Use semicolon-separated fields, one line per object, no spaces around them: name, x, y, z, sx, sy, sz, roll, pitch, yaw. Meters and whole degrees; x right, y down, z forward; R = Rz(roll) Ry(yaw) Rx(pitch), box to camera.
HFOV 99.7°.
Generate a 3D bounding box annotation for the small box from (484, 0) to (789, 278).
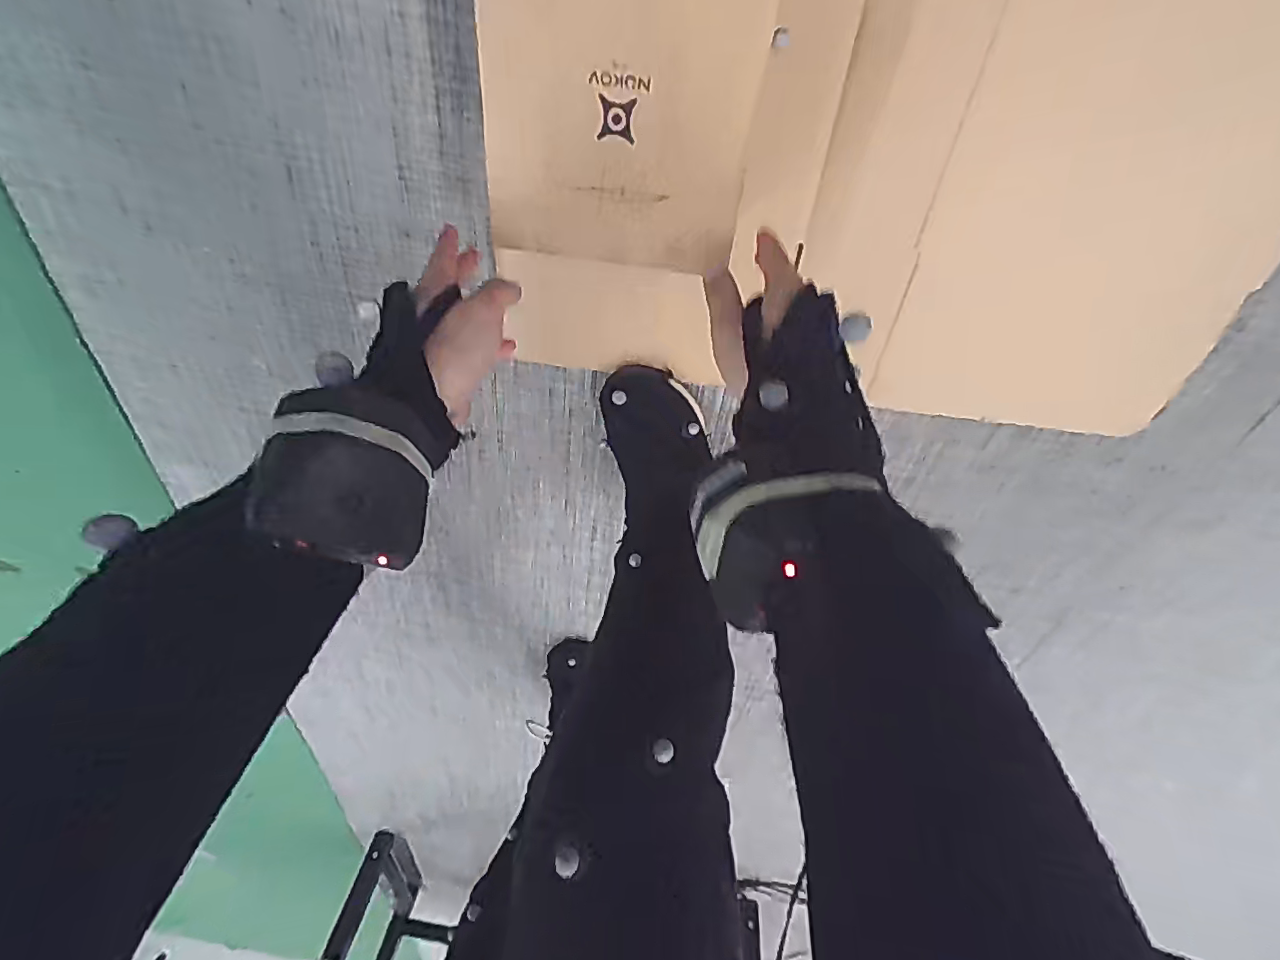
small box;0.001;-0.266;0.381;0.168;0.176;0.179;9;129;3
